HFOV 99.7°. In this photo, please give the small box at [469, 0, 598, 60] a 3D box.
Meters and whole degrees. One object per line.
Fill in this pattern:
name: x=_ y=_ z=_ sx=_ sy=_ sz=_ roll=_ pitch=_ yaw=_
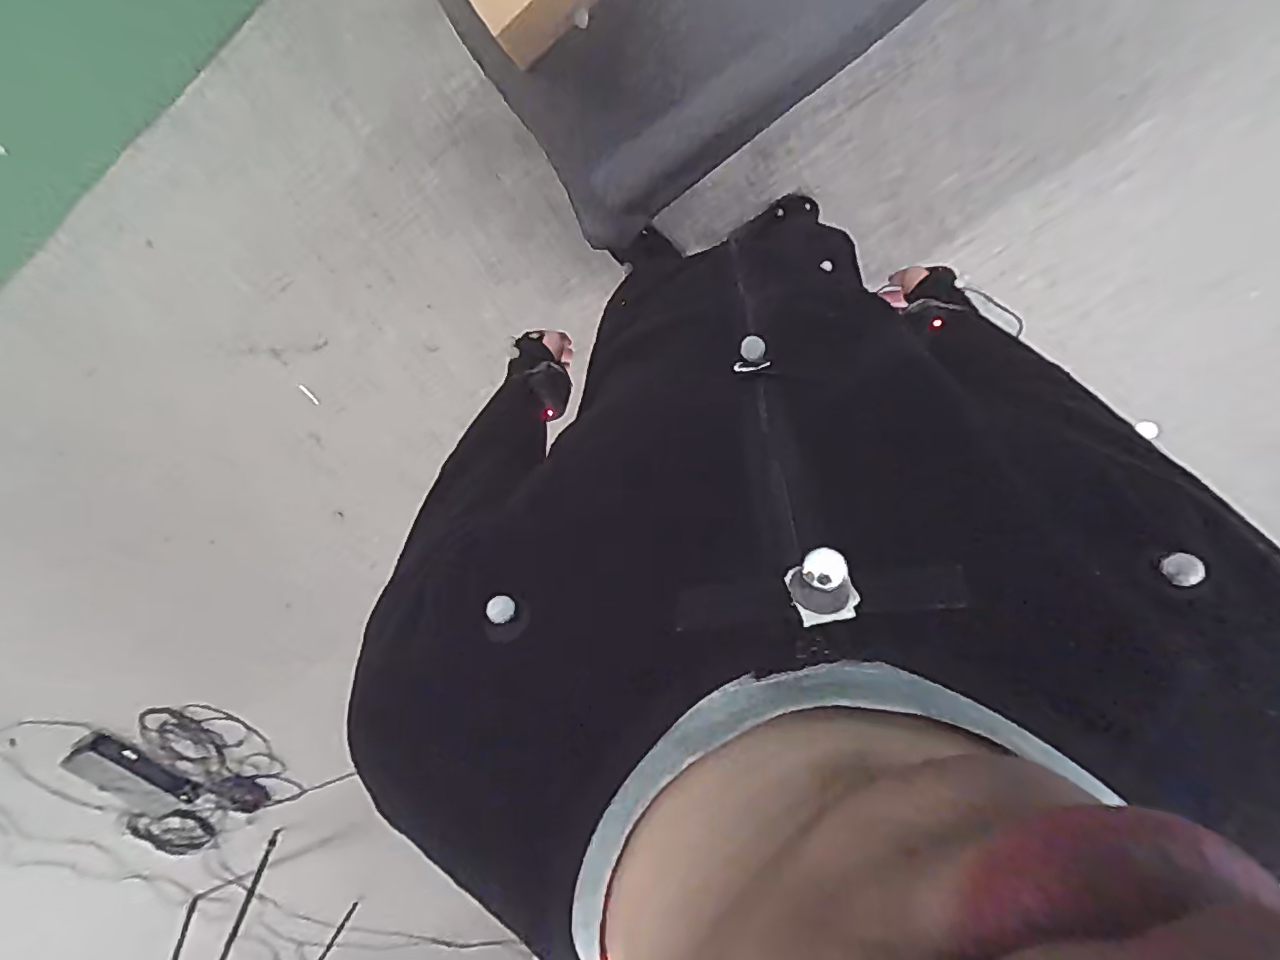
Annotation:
small box: x=-0.107 y=-0.500 z=0.447 sx=0.168 sy=0.176 sz=0.179 roll=-32 pitch=116 yaw=14
